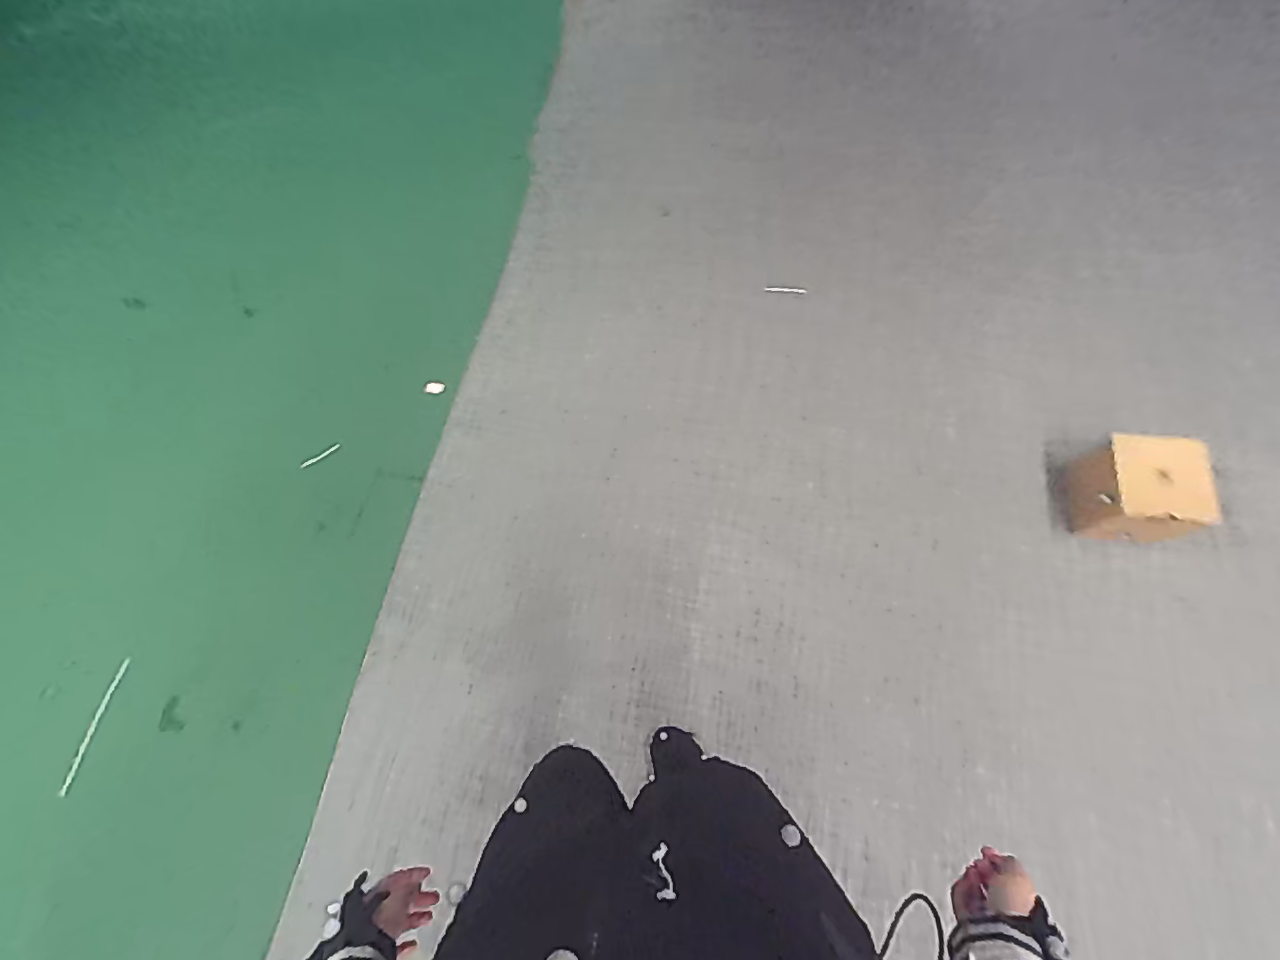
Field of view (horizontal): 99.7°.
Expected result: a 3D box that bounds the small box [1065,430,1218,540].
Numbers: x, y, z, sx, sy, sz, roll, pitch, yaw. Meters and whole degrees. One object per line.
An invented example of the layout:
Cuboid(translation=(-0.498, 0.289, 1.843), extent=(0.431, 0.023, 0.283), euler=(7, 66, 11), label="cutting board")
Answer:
Cuboid(translation=(1.030, 0.014, 1.130), extent=(0.168, 0.176, 0.179), euler=(6, 71, 10), label="small box")
